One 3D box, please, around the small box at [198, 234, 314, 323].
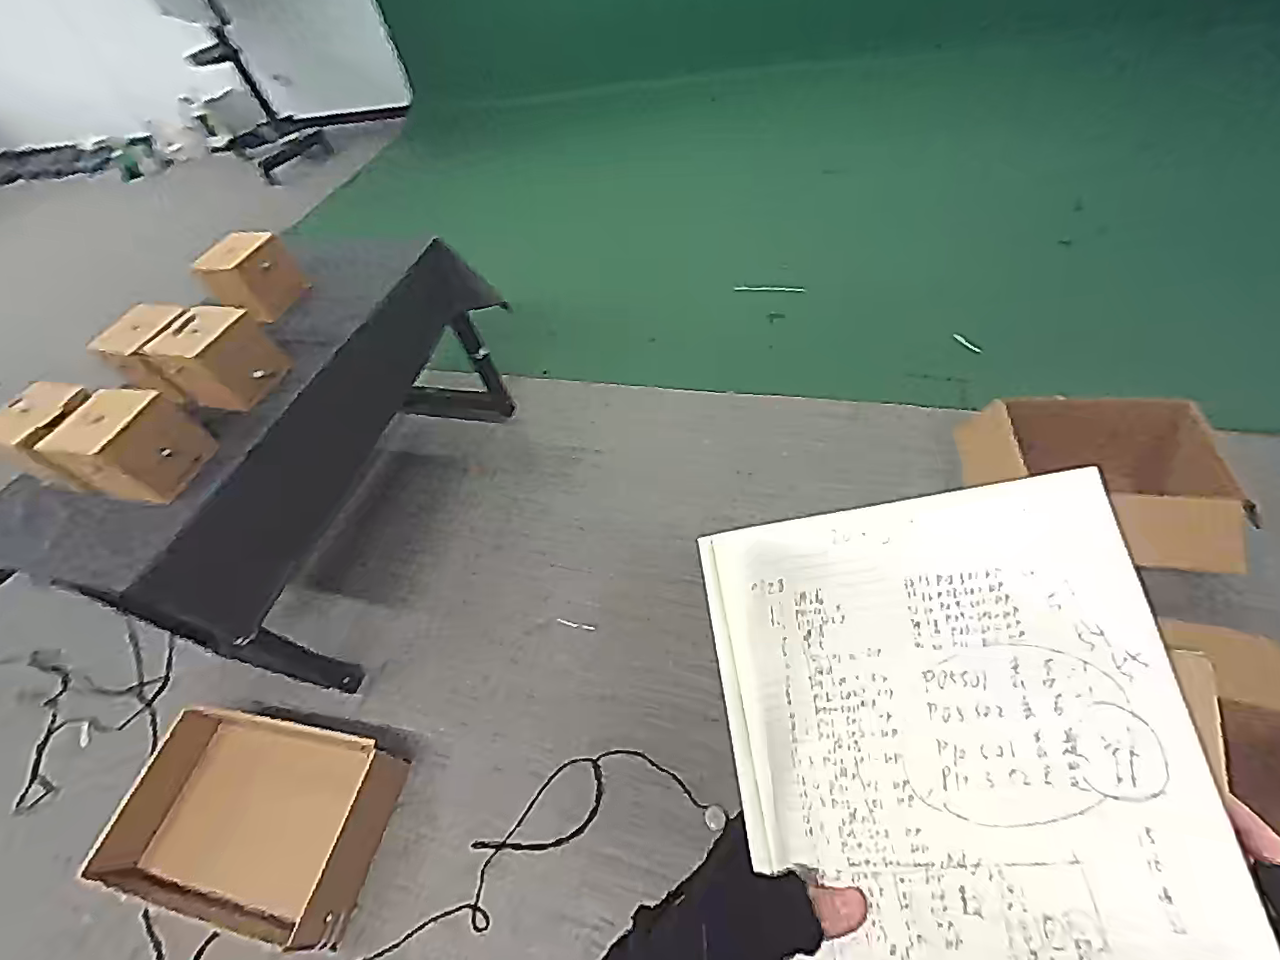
[{"bbox_3d":[-1.067,-0.568,1.524,0.168,0.176,0.179,8,56,18],"label":"small box"}]
